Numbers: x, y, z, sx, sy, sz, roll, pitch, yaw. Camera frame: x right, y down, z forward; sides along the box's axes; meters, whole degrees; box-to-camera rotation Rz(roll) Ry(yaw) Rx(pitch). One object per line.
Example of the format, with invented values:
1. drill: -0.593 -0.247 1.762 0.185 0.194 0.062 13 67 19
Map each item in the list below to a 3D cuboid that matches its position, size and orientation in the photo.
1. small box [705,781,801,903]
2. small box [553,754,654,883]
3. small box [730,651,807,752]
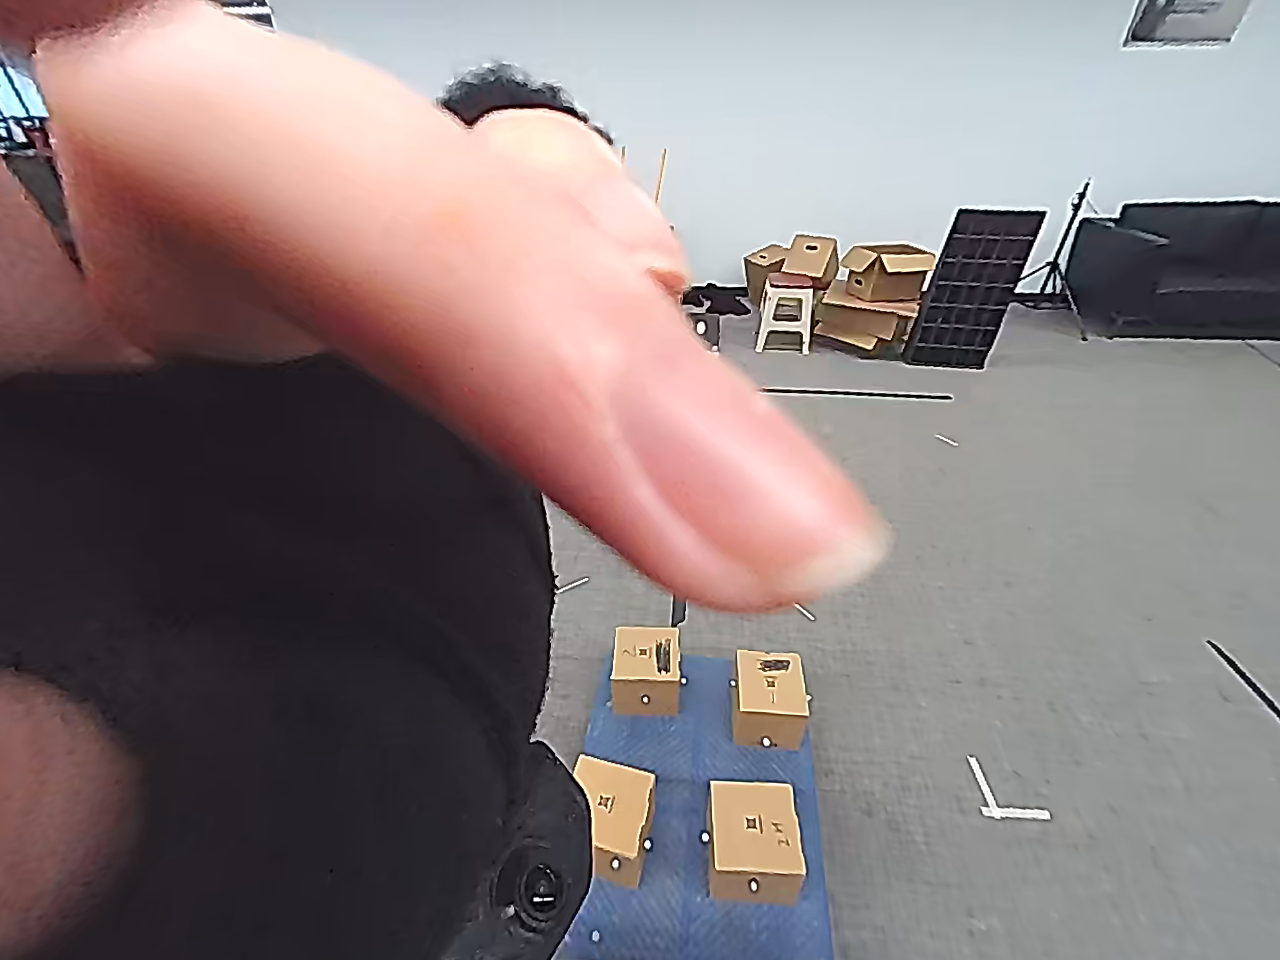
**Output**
1. small box: 0.228 0.763 1.141 0.179 0.176 0.168 2 36 3
2. small box: -0.075 0.738 1.178 0.179 0.176 0.168 10 36 11
3. small box: 0.325 0.572 1.403 0.168 0.176 0.179 3 37 5
